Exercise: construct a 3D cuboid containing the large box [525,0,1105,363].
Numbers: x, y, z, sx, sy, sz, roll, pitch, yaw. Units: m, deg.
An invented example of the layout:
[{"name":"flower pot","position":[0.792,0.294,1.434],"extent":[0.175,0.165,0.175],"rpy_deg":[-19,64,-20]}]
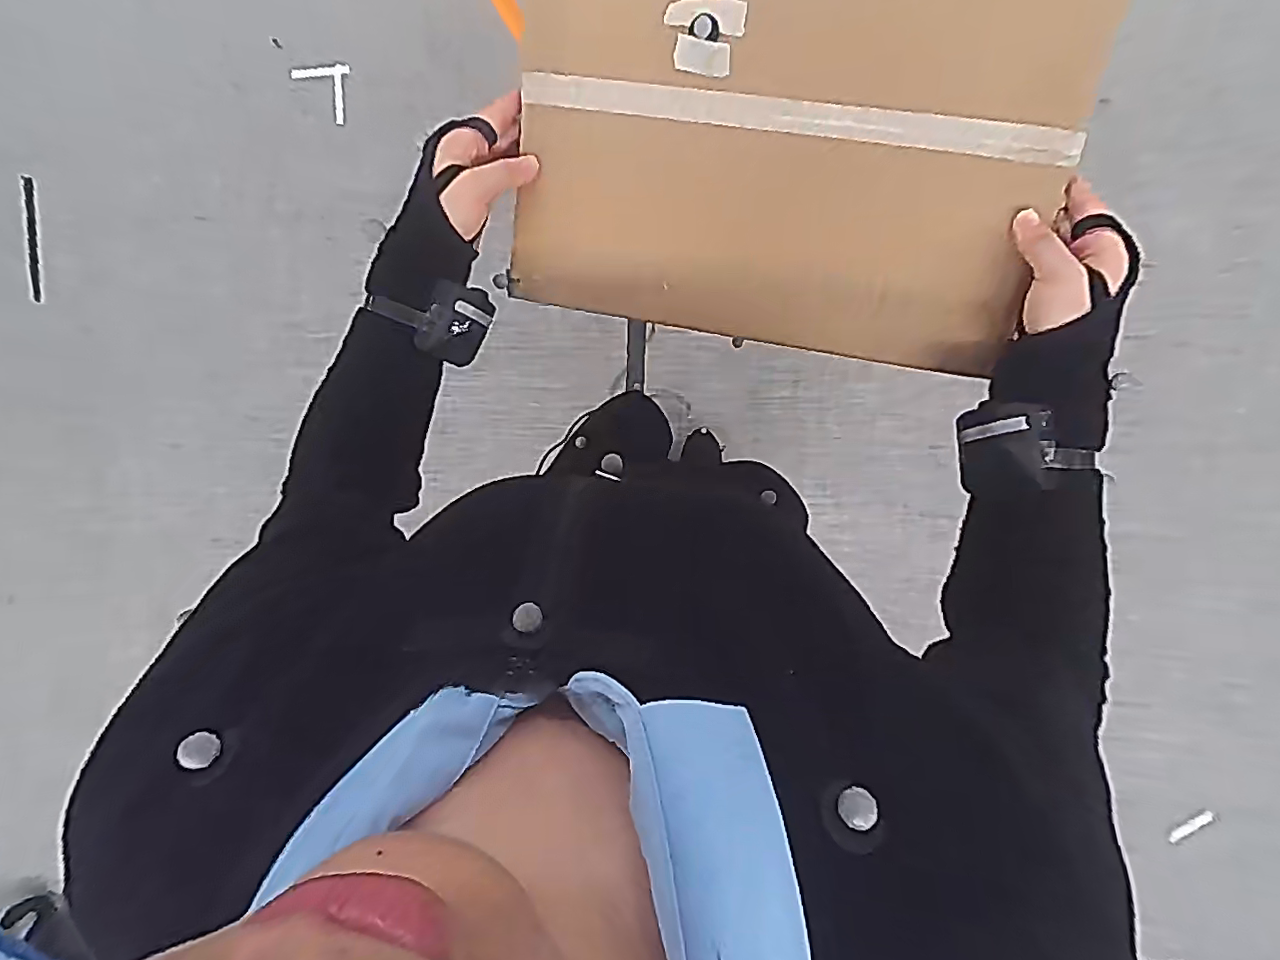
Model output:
[{"name":"large box","position":[0.137,-0.313,0.557],"extent":[0.408,0.320,0.320],"rpy_deg":[11,107,8]}]
